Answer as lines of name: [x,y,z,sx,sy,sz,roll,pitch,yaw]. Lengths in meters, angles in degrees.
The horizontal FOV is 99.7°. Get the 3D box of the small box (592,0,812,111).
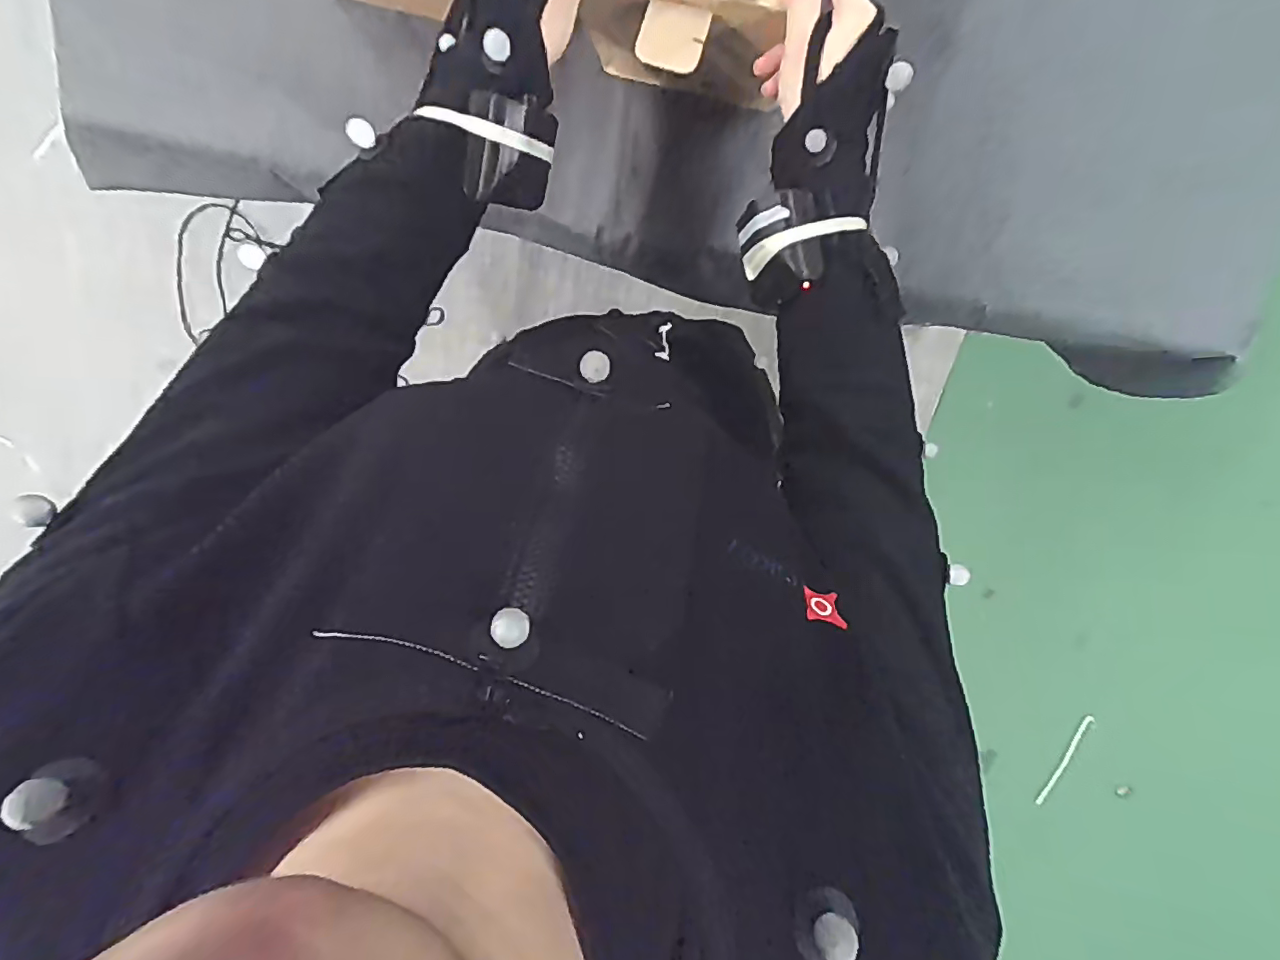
small box: [0.057,-0.417,0.401,0.168,0.176,0.179,15,108,2]

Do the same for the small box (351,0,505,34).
small box: [-0.204,-0.487,0.411,0.179,0.176,0.168,16,108,1]
